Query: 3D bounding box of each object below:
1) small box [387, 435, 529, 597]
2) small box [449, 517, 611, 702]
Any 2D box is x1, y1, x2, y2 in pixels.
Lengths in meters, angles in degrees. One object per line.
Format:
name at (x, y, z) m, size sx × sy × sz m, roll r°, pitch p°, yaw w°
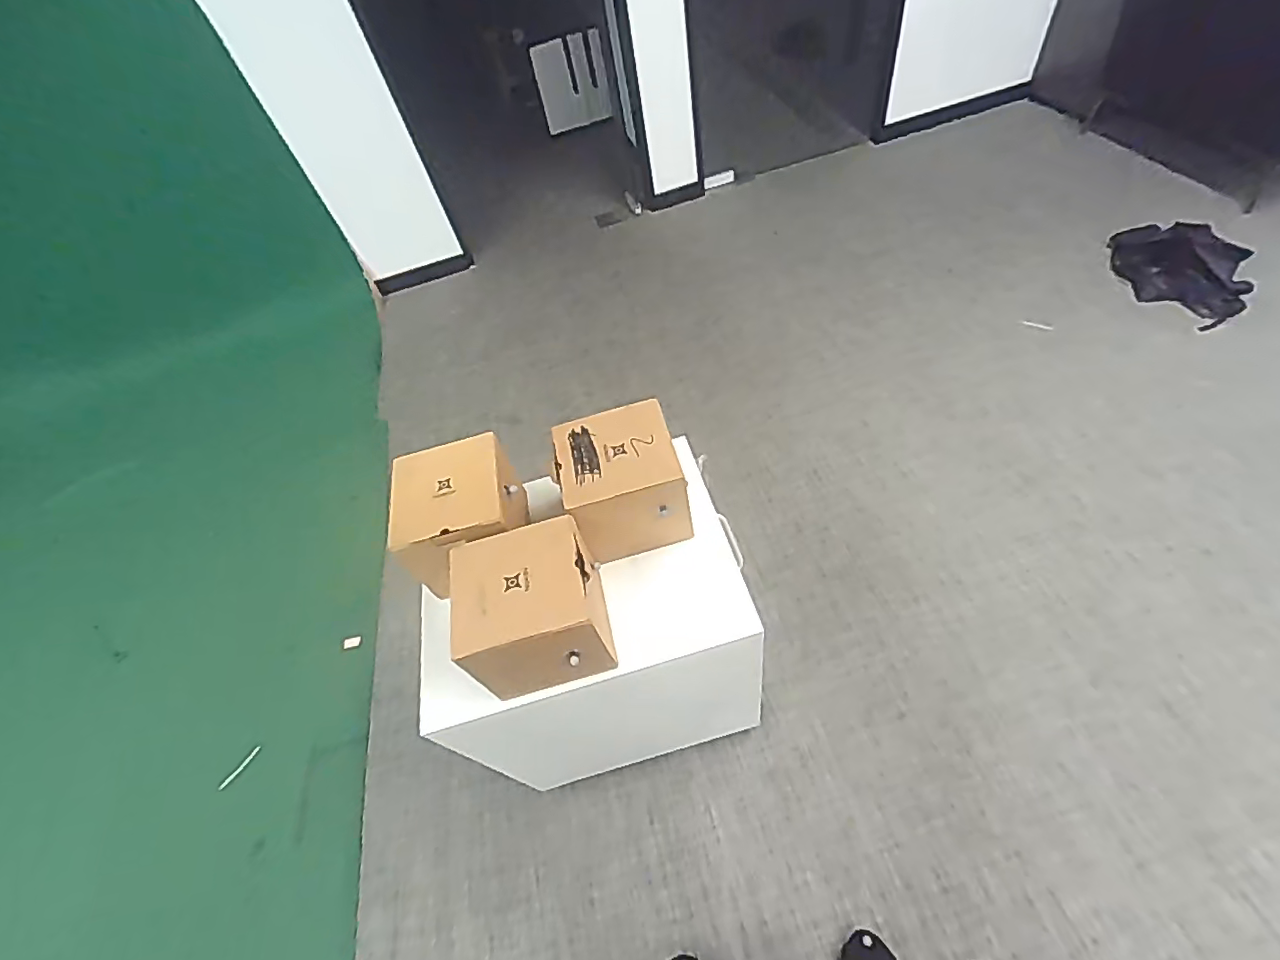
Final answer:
small box at (-0.280, 0.060, 0.867) m, size 0.168 × 0.176 × 0.179 m, roll -15°, pitch 53°, yaw -2°
small box at (-0.145, 0.182, 0.747) m, size 0.179 × 0.176 × 0.168 m, roll -17°, pitch 50°, yaw -1°
